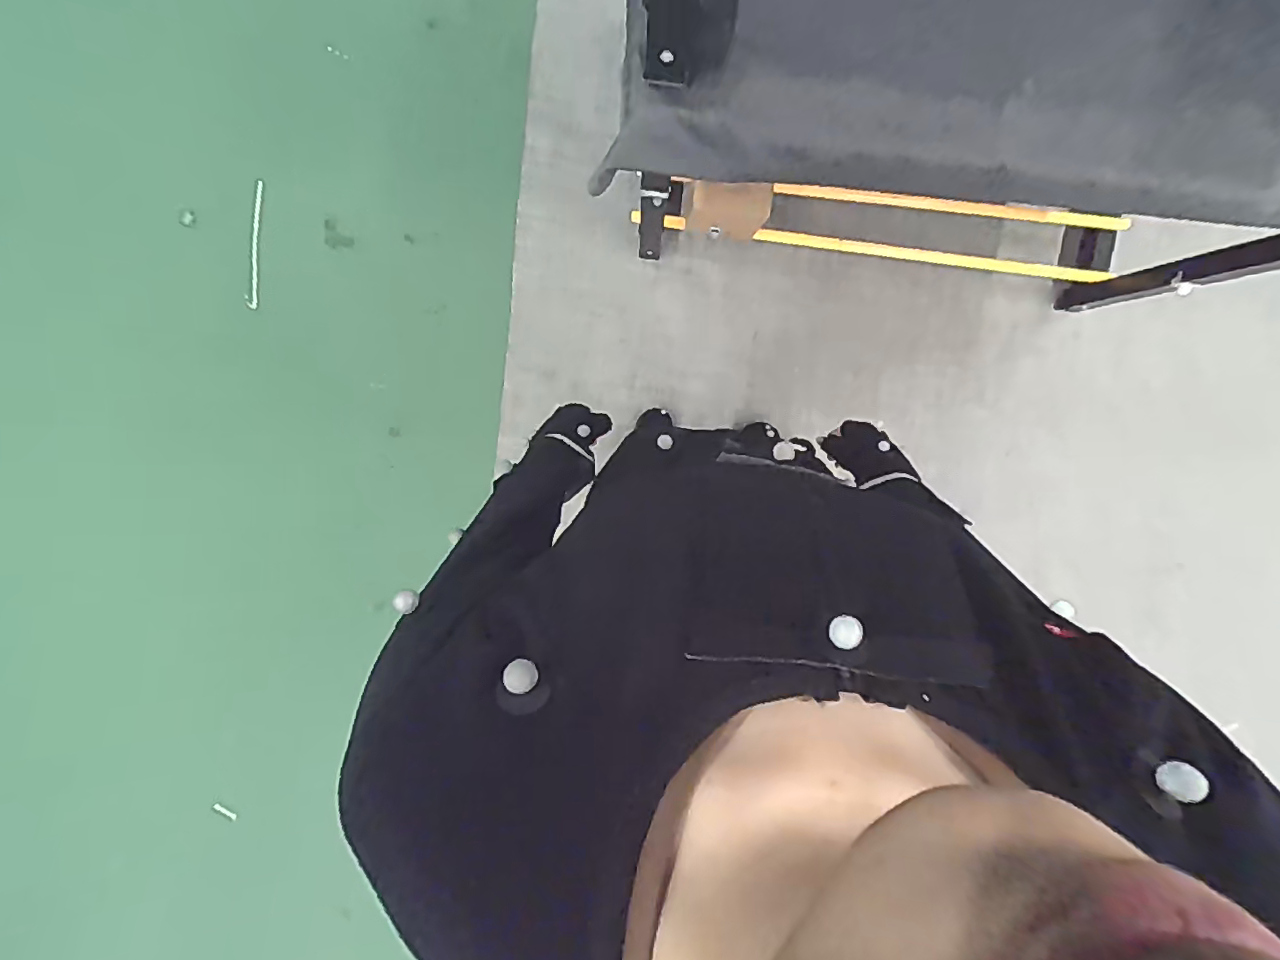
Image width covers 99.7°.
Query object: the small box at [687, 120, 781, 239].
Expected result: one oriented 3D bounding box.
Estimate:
[{"bbox_3d":[0.200,-0.659,1.203,0.168,0.176,0.179,5,99,-2],"label":"small box"}]
